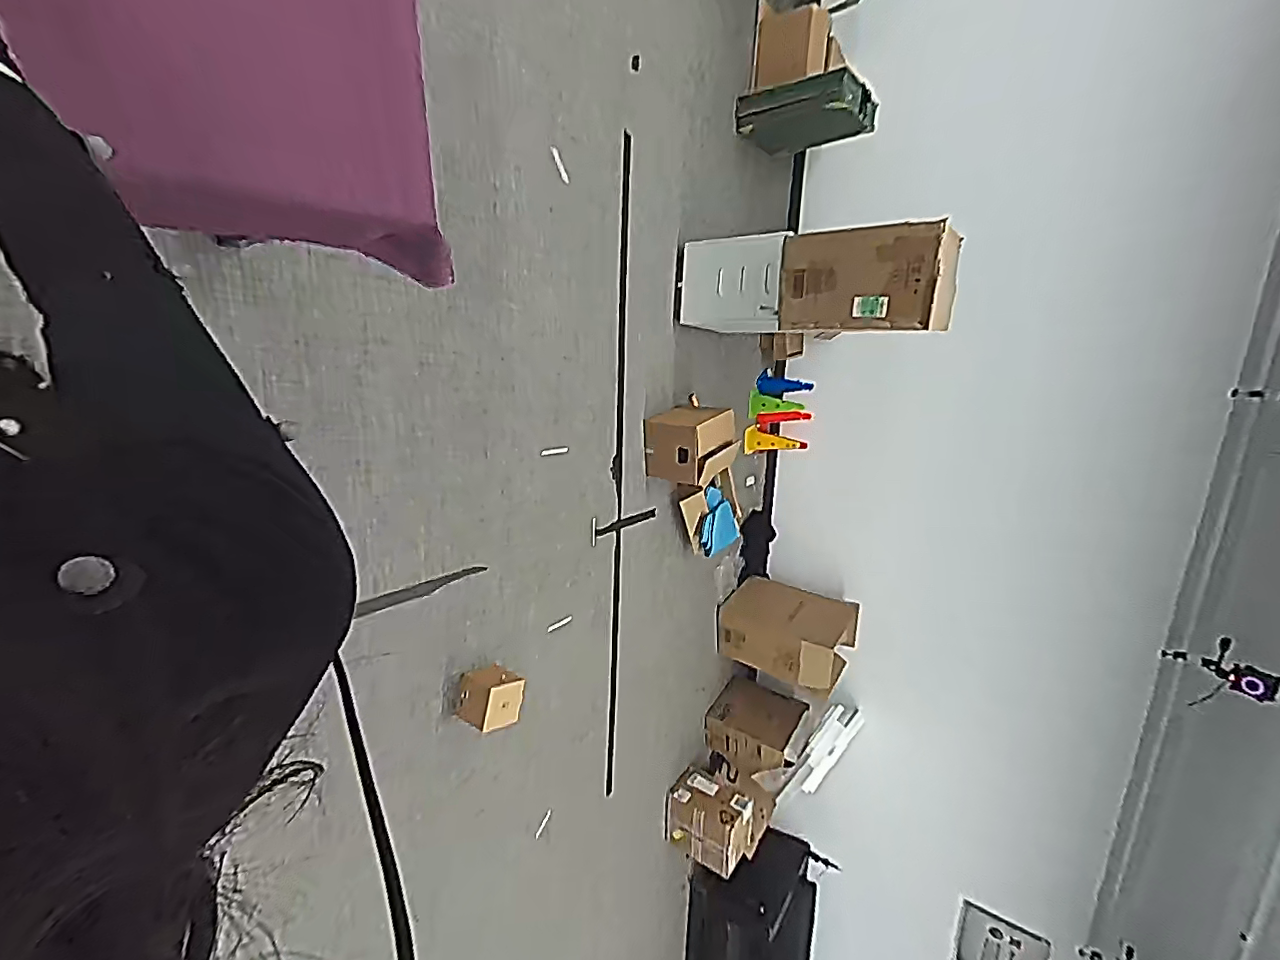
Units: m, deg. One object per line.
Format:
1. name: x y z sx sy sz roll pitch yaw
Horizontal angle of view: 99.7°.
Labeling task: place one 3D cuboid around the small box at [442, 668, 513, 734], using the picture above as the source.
1. small box: -0.611 0.822 2.033 0.179 0.176 0.168 13 87 -56
